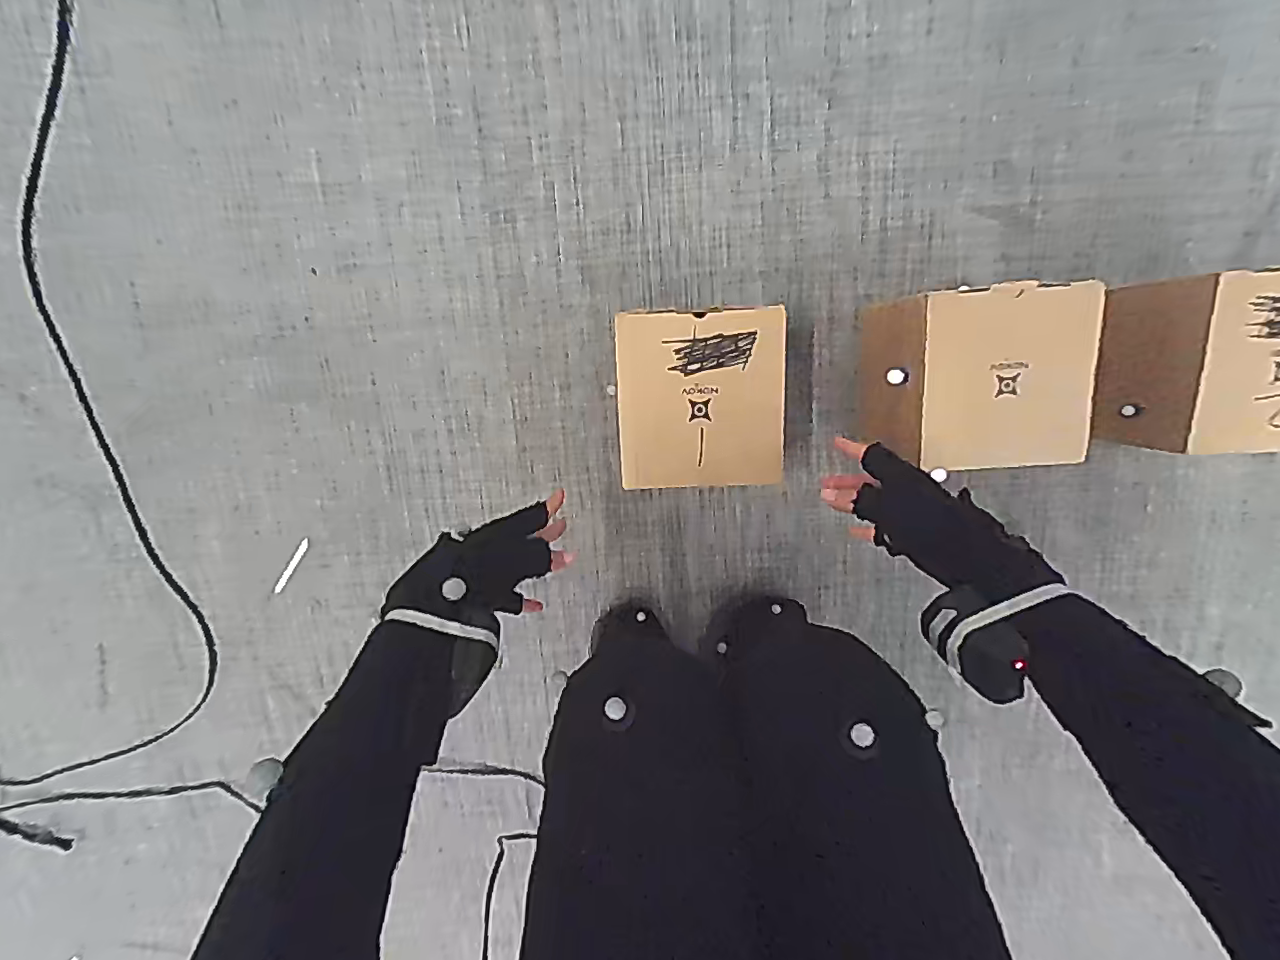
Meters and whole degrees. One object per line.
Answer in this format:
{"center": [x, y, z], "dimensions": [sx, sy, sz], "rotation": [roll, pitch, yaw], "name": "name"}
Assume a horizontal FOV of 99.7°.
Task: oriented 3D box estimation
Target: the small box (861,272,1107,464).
{"center": [0.358, -0.122, 0.599], "dimensions": [0.168, 0.176, 0.179], "rotation": [-4, 102, 2], "name": "small box"}

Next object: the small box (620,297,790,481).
{"center": [0.064, -0.103, 0.606], "dimensions": [0.168, 0.176, 0.179], "rotation": [-2, 103, 2], "name": "small box"}
